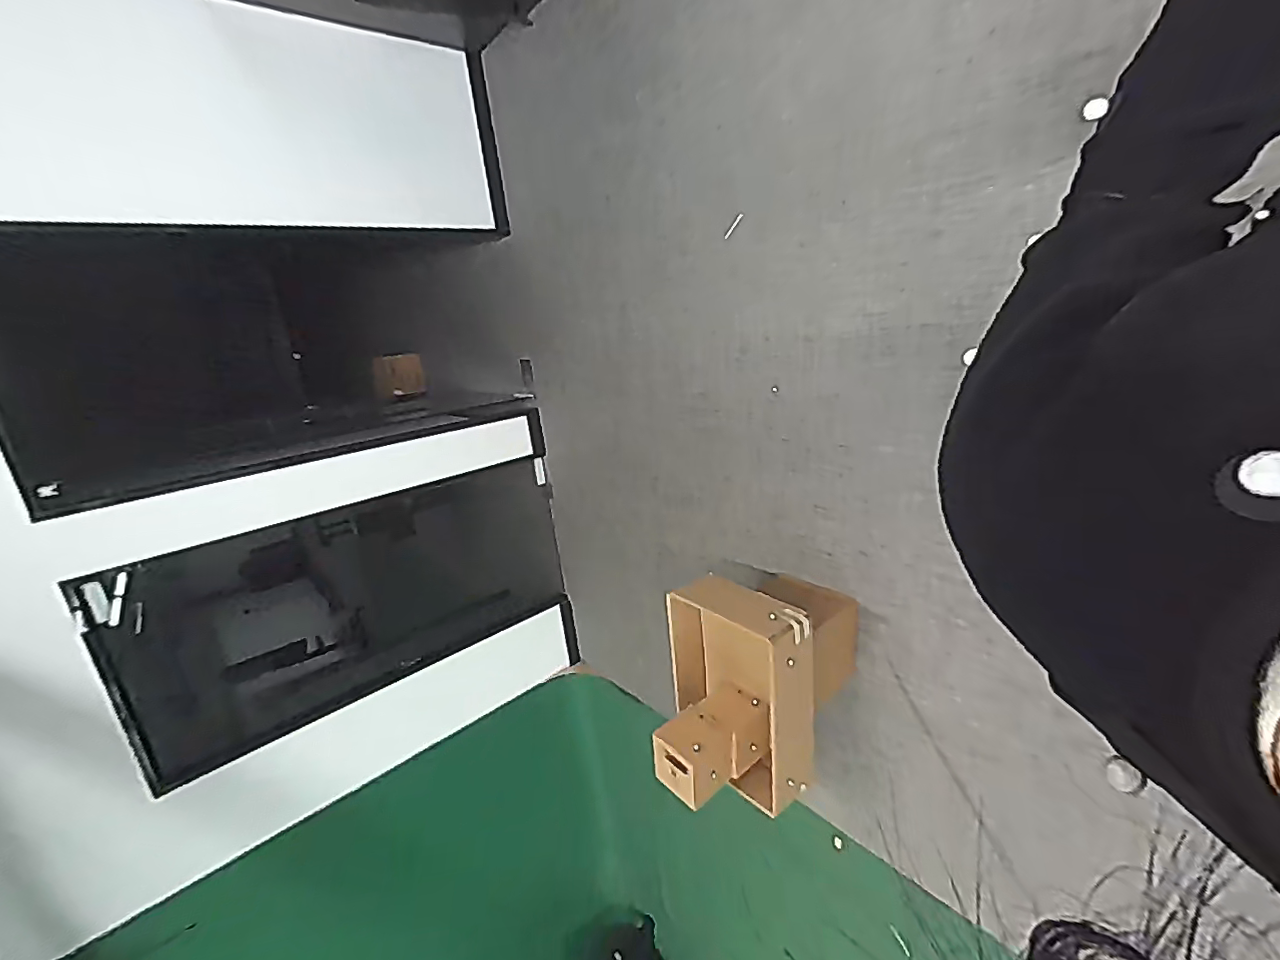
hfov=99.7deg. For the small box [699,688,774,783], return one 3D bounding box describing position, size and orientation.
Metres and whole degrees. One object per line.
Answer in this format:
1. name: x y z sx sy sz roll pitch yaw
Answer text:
1. small box: 0.302 0.783 1.680 0.168 0.176 0.179 16 117 48
